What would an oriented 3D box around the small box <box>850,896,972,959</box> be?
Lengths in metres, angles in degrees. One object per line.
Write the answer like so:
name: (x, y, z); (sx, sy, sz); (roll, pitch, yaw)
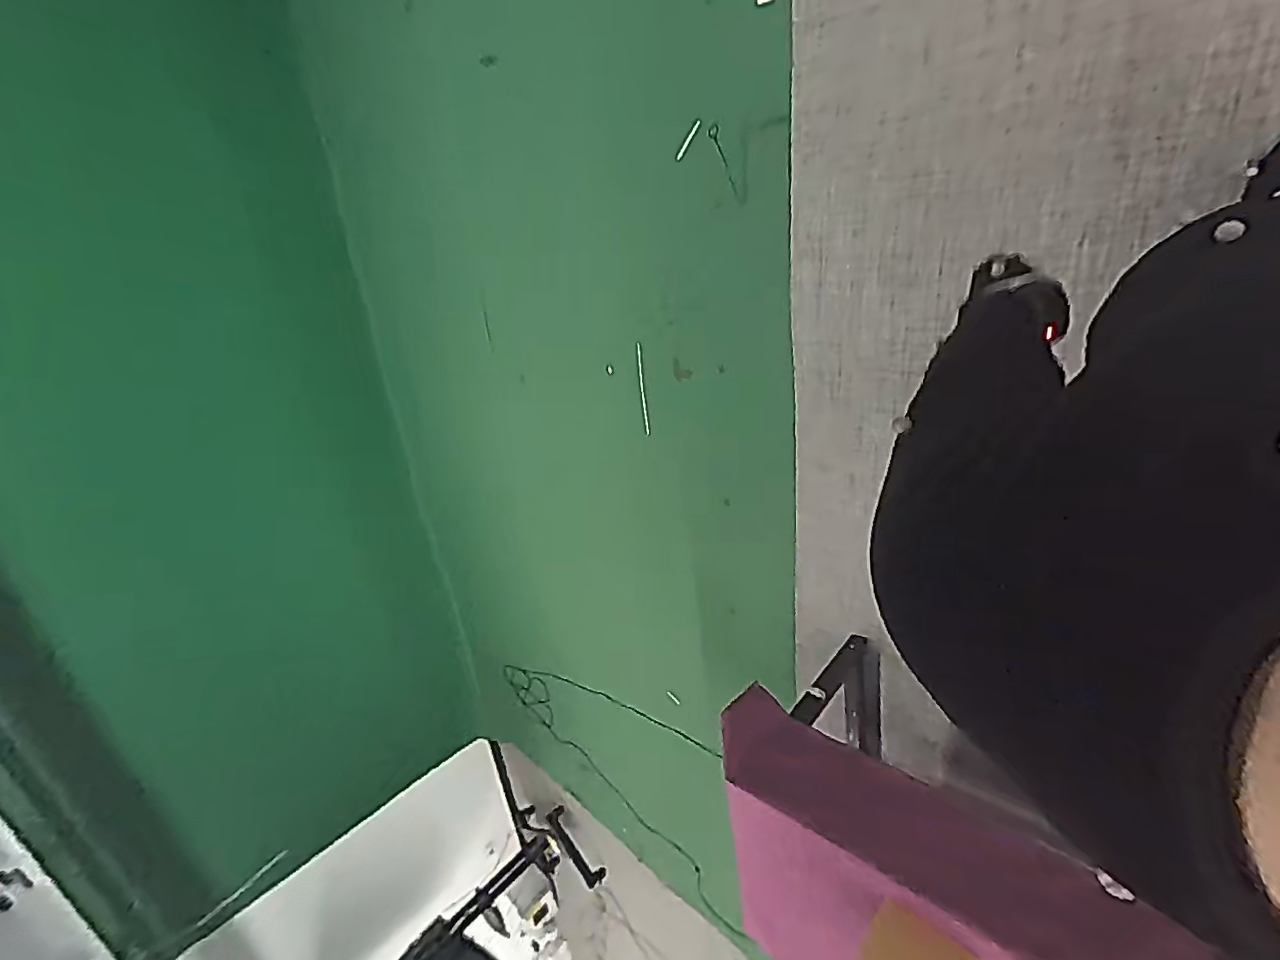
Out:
small box: (0.519, 0.970, 1.044); (0.179, 0.176, 0.168); (13, 119, 43)
